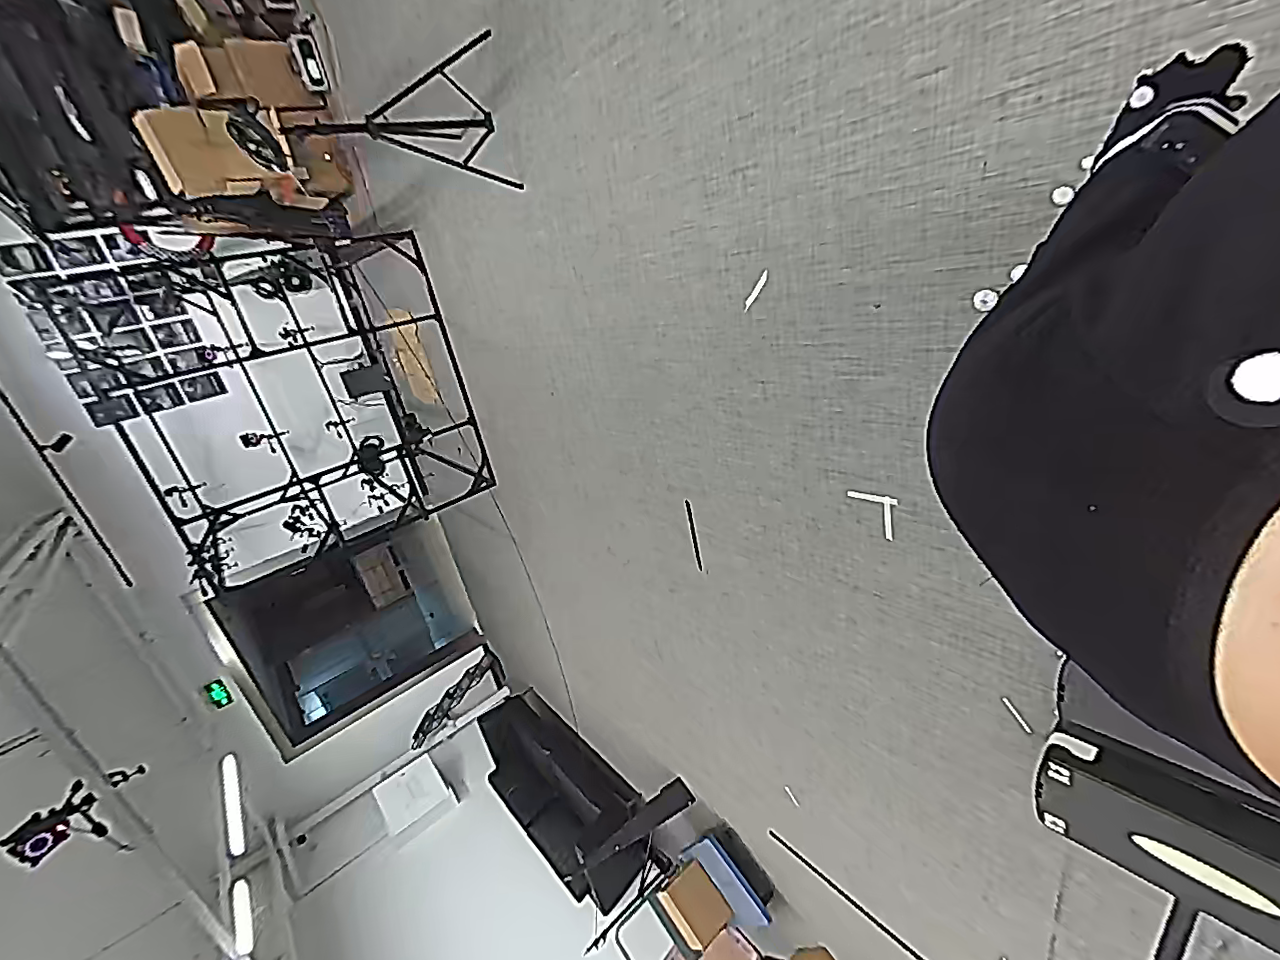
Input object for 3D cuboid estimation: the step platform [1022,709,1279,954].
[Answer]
[{"bbox_3d":[1.363,0.875,1.338,0.684,0.204,0.286,16,125,51],"label":"step platform"}]
